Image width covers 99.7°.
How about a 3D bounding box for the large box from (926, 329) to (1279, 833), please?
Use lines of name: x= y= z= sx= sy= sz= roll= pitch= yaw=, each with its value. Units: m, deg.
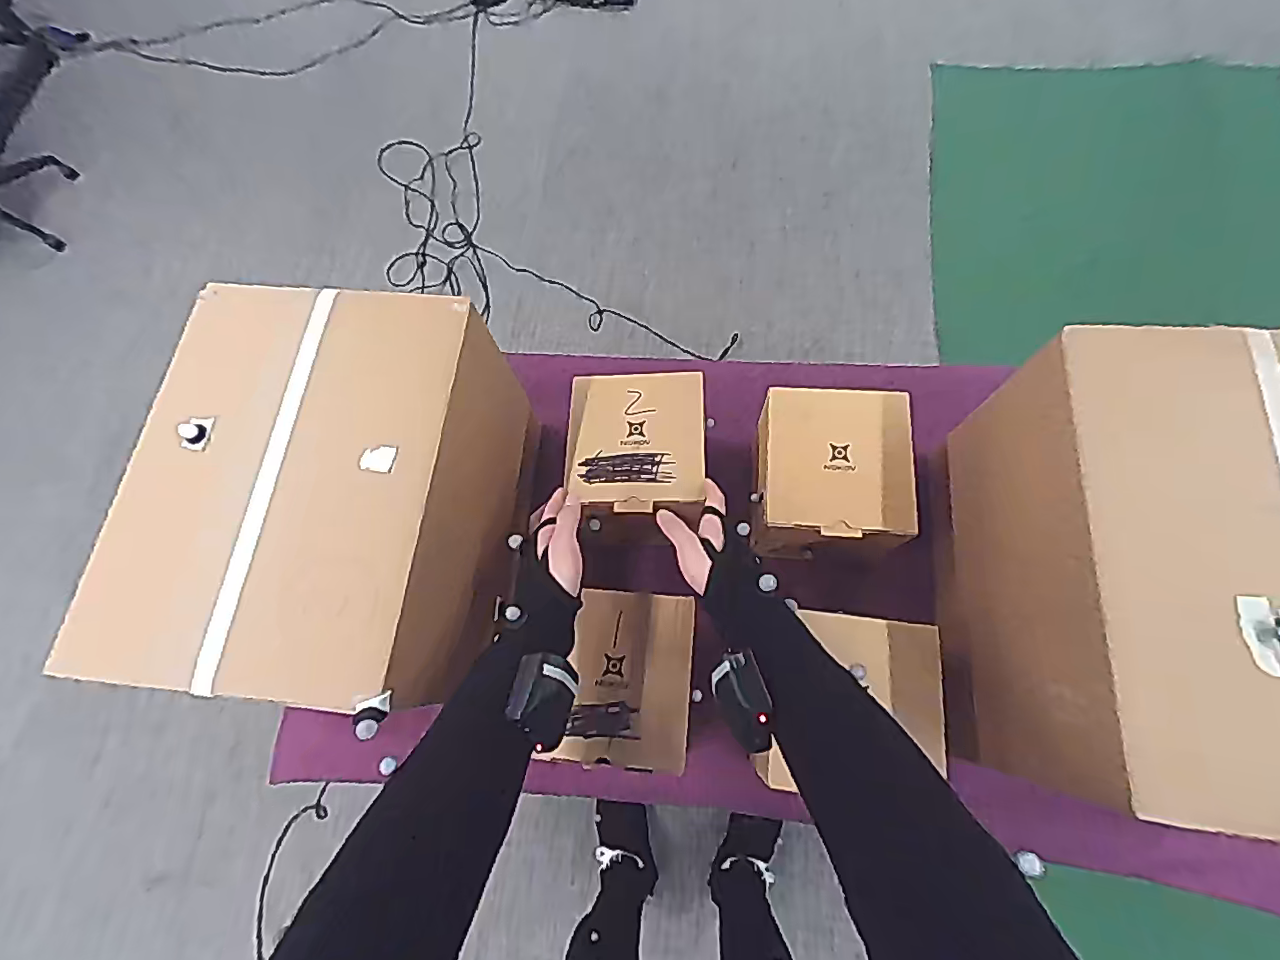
large box: x=0.530 y=0.103 z=0.564 sx=0.320 sy=0.320 sz=0.408 roll=4 pitch=72 yaw=7
